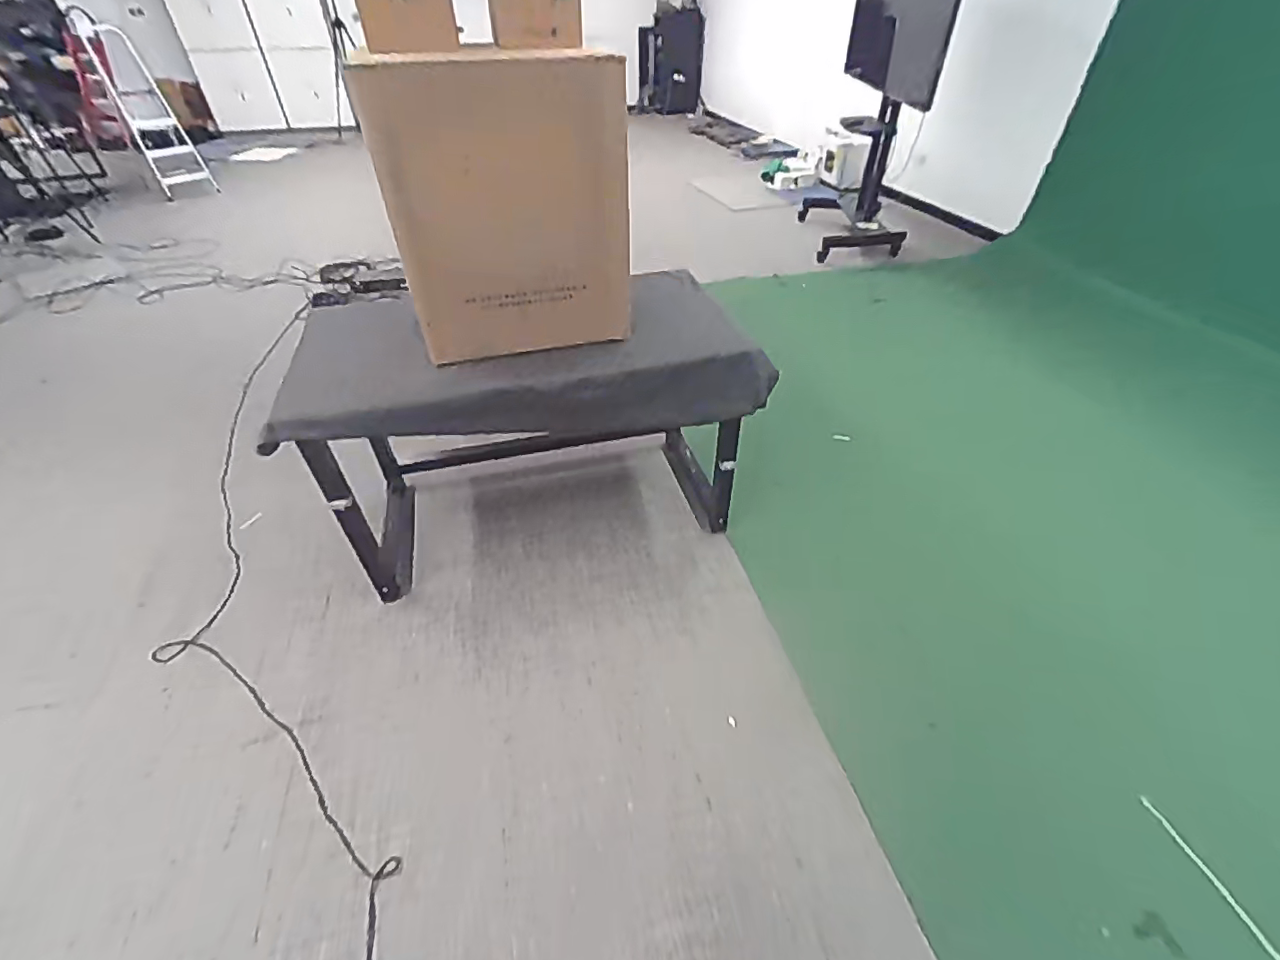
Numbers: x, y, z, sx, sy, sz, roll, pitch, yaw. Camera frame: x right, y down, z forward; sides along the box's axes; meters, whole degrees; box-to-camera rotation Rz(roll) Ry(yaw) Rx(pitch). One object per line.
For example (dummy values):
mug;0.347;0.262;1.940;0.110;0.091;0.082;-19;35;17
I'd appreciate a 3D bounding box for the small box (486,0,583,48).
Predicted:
small box;-0.220;-0.996;1.104;0.168;0.176;0.179;-16;47;-16

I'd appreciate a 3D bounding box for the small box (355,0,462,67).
small box;-0.458;-0.932;1.063;0.179;0.176;0.168;-14;45;-12
